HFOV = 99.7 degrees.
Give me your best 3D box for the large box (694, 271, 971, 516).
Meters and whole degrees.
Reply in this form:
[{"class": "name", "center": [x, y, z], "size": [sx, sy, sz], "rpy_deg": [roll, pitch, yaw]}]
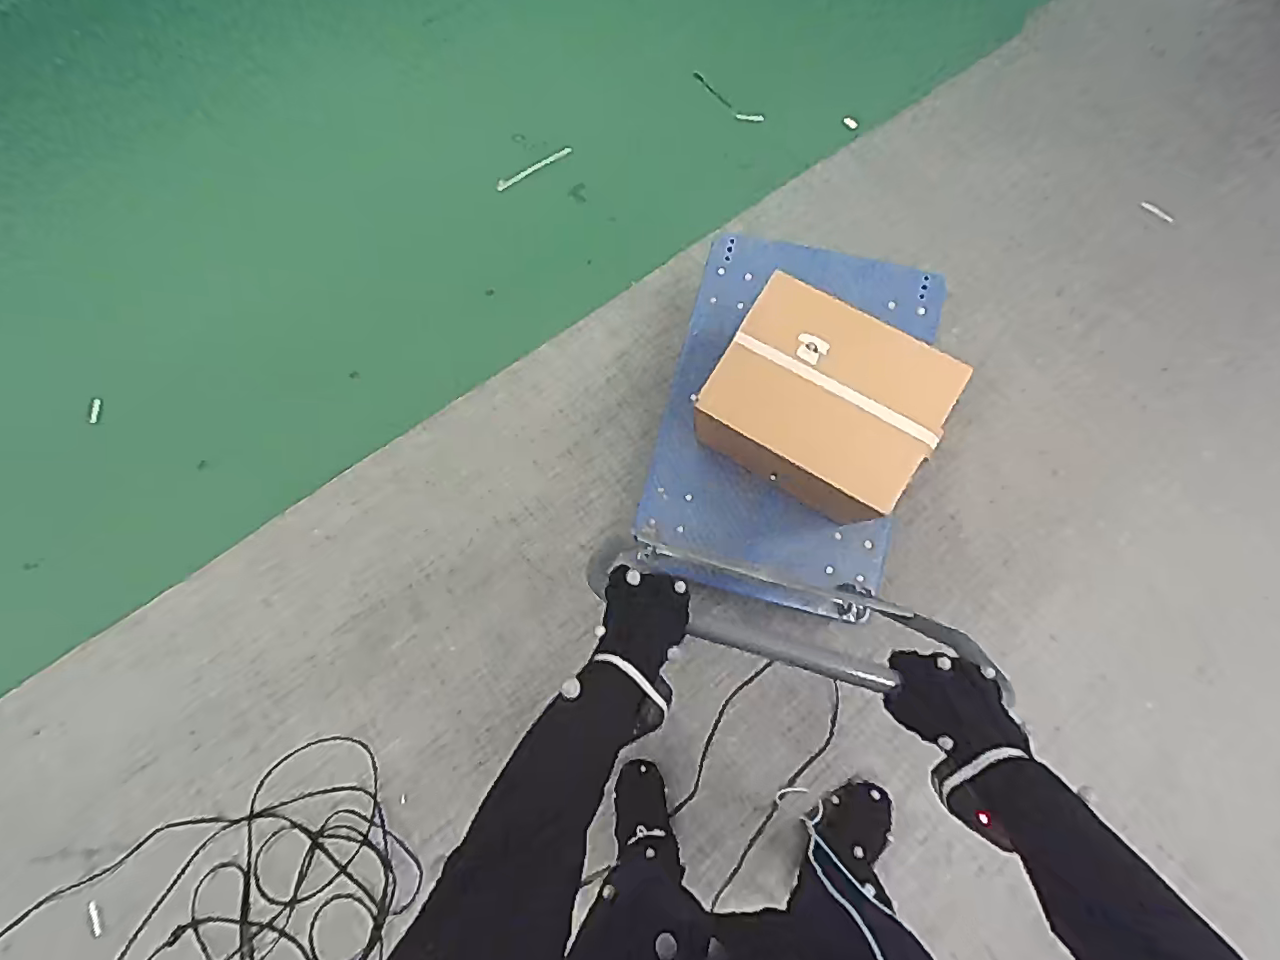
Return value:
[{"class": "large box", "center": [0.369, -0.155, 1.134], "size": [0.408, 0.320, 0.320], "rpy_deg": [31, 87, 11]}]
